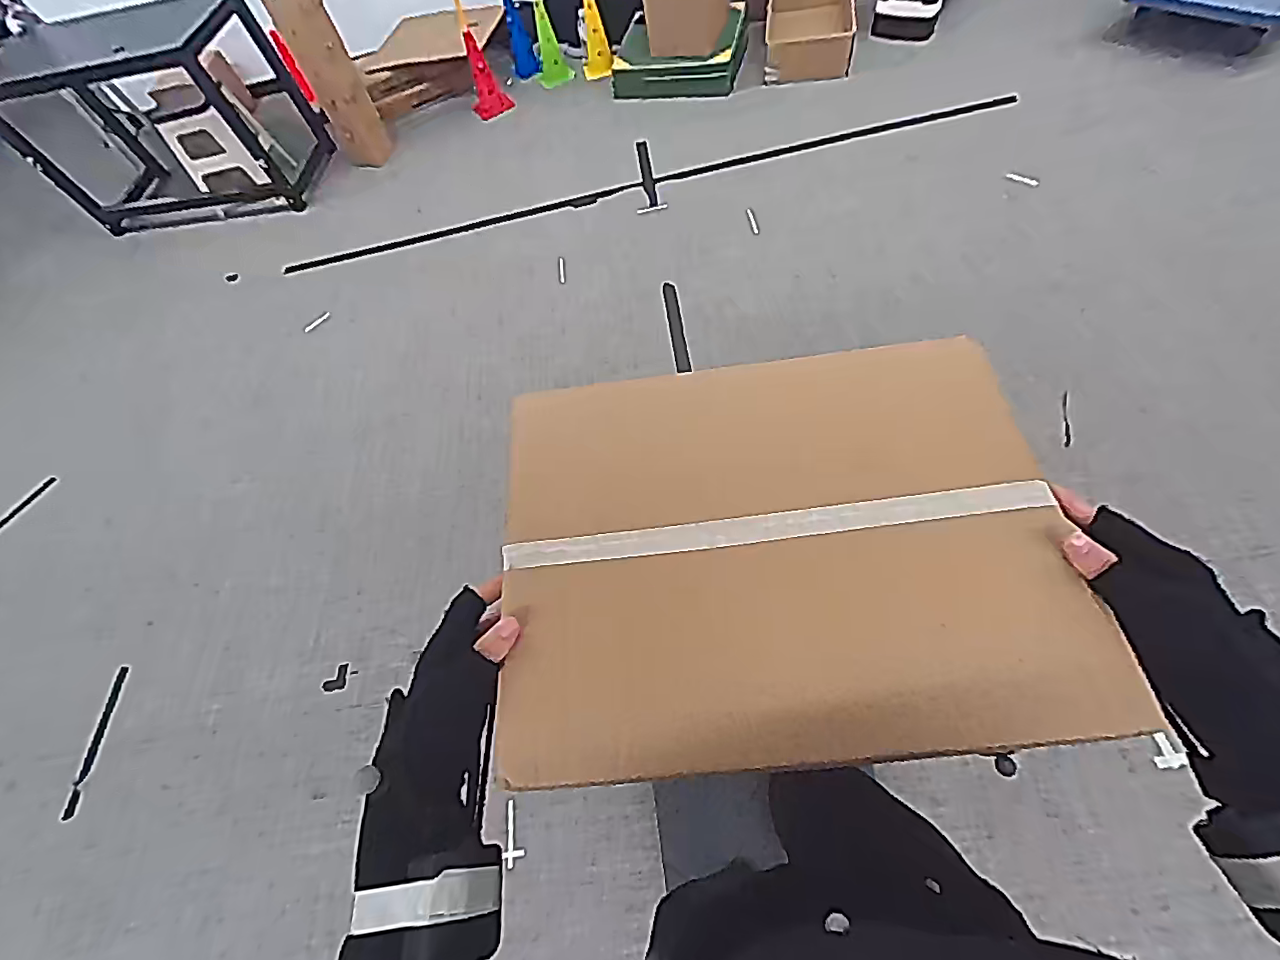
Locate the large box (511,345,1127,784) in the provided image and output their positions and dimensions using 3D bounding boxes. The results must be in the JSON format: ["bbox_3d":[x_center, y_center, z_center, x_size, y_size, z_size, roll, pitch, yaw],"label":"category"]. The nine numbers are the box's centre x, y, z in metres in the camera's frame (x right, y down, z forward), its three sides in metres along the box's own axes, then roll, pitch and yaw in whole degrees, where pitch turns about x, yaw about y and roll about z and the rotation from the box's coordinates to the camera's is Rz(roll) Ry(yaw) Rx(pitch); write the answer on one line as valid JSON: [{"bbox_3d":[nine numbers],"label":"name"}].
[{"bbox_3d":[0.114,0.107,0.546,0.408,0.320,0.320,-7,61,3],"label":"large box"}]
